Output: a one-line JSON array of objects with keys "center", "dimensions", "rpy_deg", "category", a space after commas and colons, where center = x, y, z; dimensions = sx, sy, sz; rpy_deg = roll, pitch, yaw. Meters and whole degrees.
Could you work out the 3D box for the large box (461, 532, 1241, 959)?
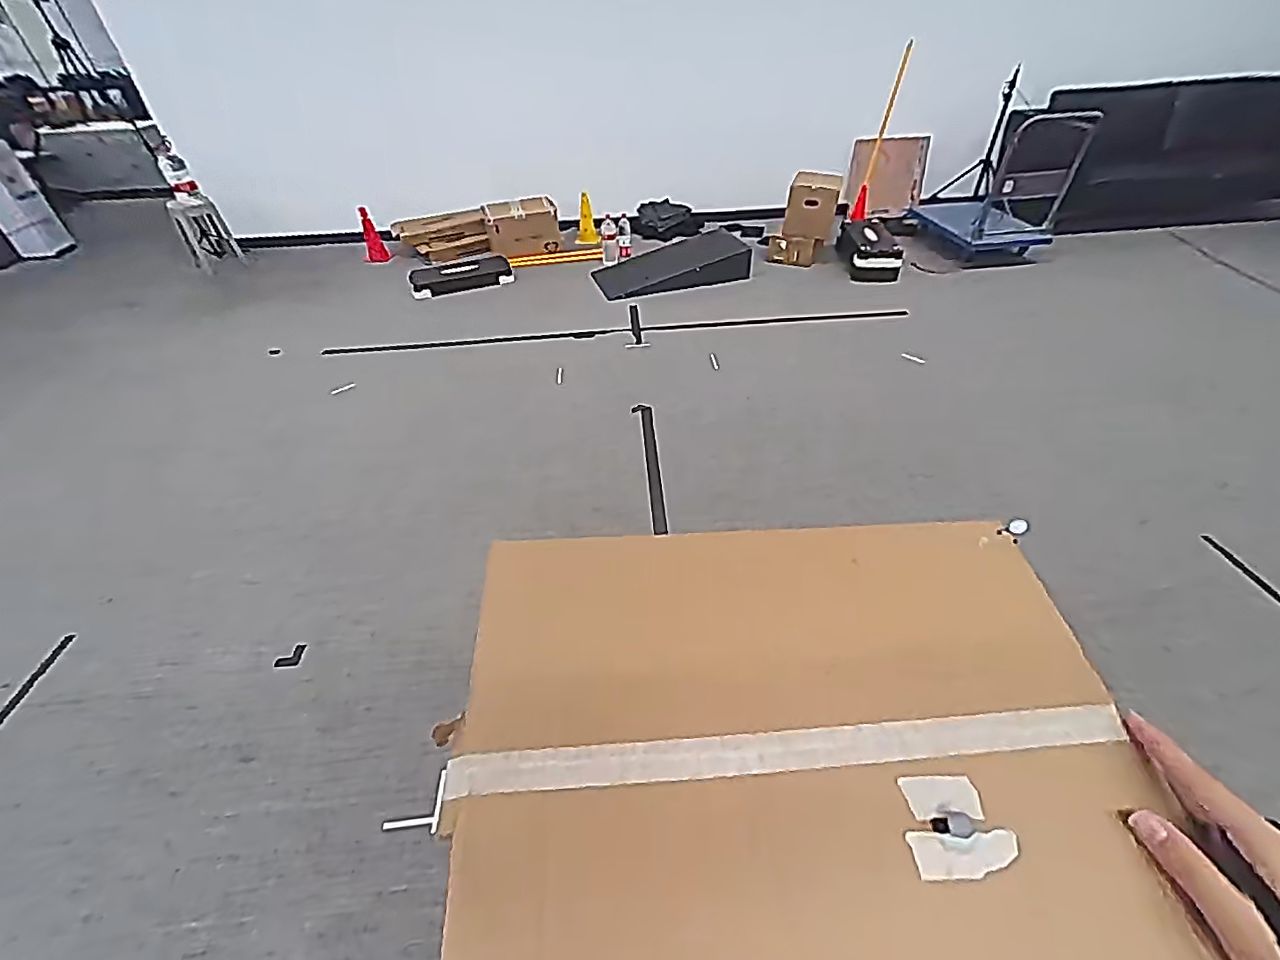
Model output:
[{"center": [0.093, 0.264, 0.444], "dimensions": [0.408, 0.320, 0.320], "rpy_deg": [-2, 51, -5], "category": "large box"}]
